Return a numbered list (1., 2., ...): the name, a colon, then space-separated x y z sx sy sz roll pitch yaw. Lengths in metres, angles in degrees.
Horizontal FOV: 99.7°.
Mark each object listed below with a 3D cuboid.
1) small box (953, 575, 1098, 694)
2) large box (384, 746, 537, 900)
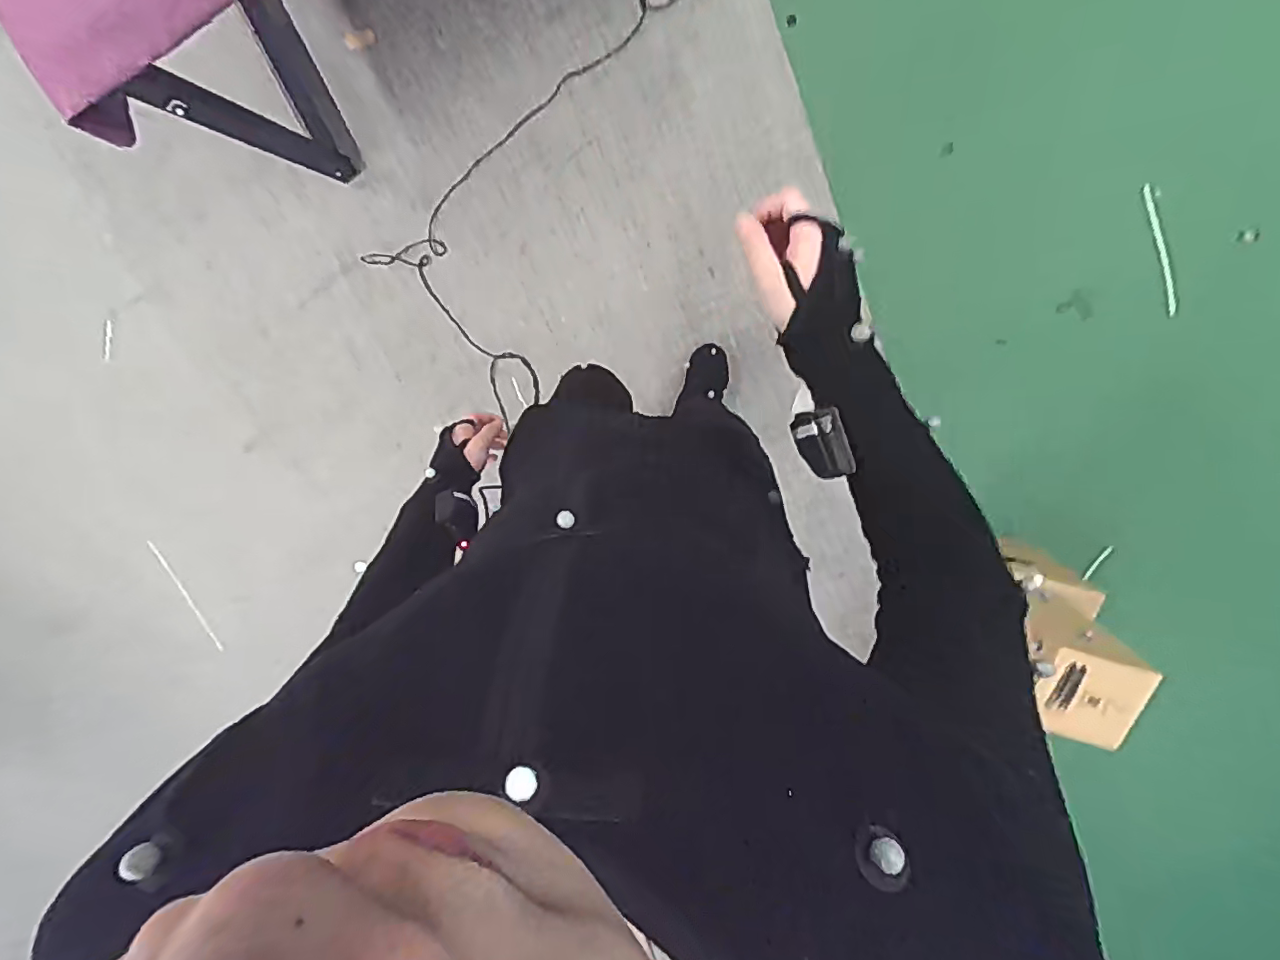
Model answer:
1. small box: 0.834 0.330 1.194 0.179 0.176 0.168 17 107 3
2. large box: -0.598 1.165 1.867 0.408 0.320 0.320 2 105 6
